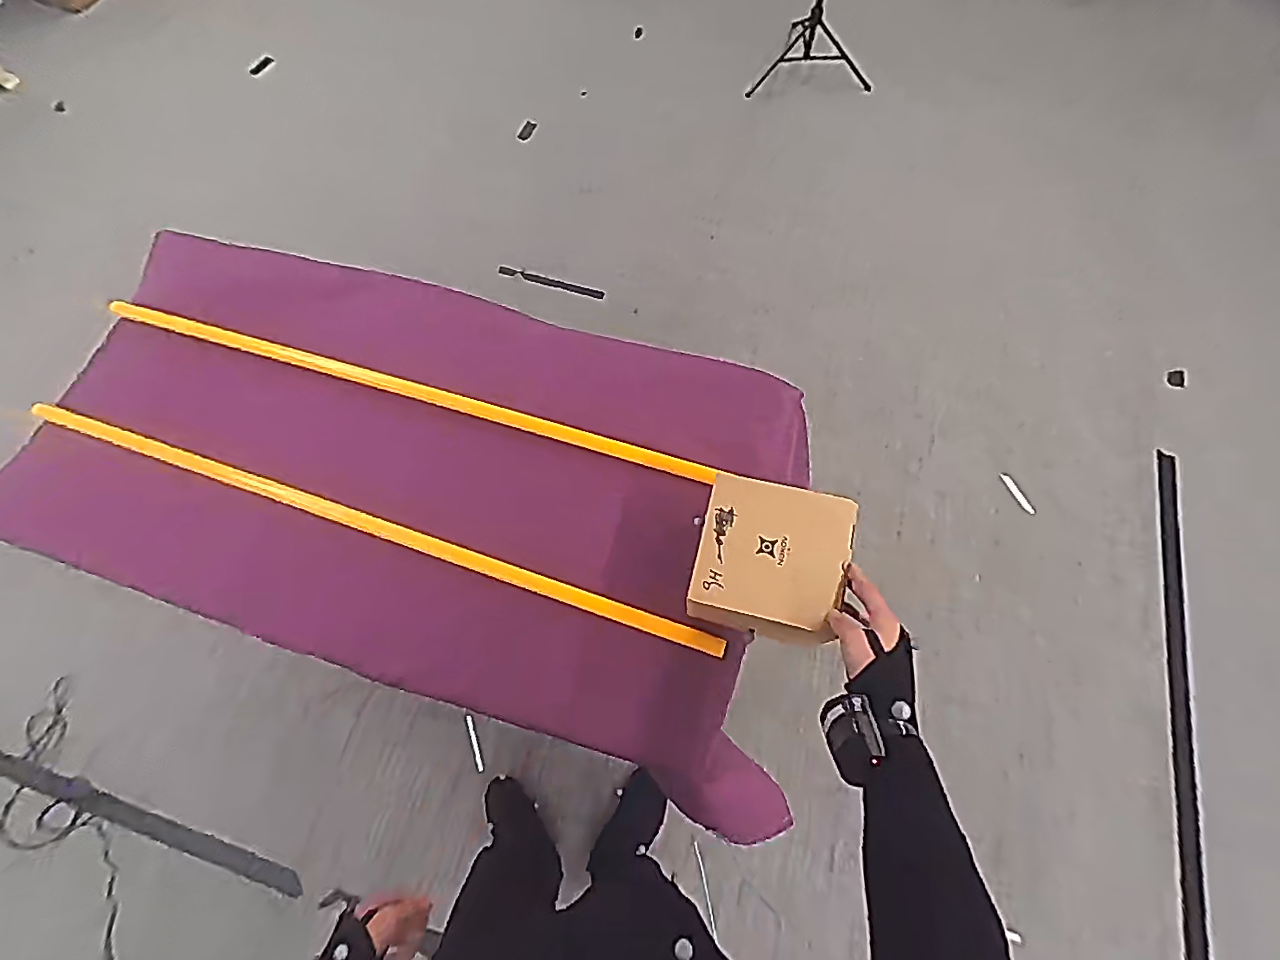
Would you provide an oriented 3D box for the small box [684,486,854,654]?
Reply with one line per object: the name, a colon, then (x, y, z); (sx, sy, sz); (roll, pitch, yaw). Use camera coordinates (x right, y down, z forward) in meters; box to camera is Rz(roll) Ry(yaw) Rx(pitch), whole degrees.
small box: (0.162, 0.127, 0.720); (0.179, 0.176, 0.168); (13, 71, 10)
